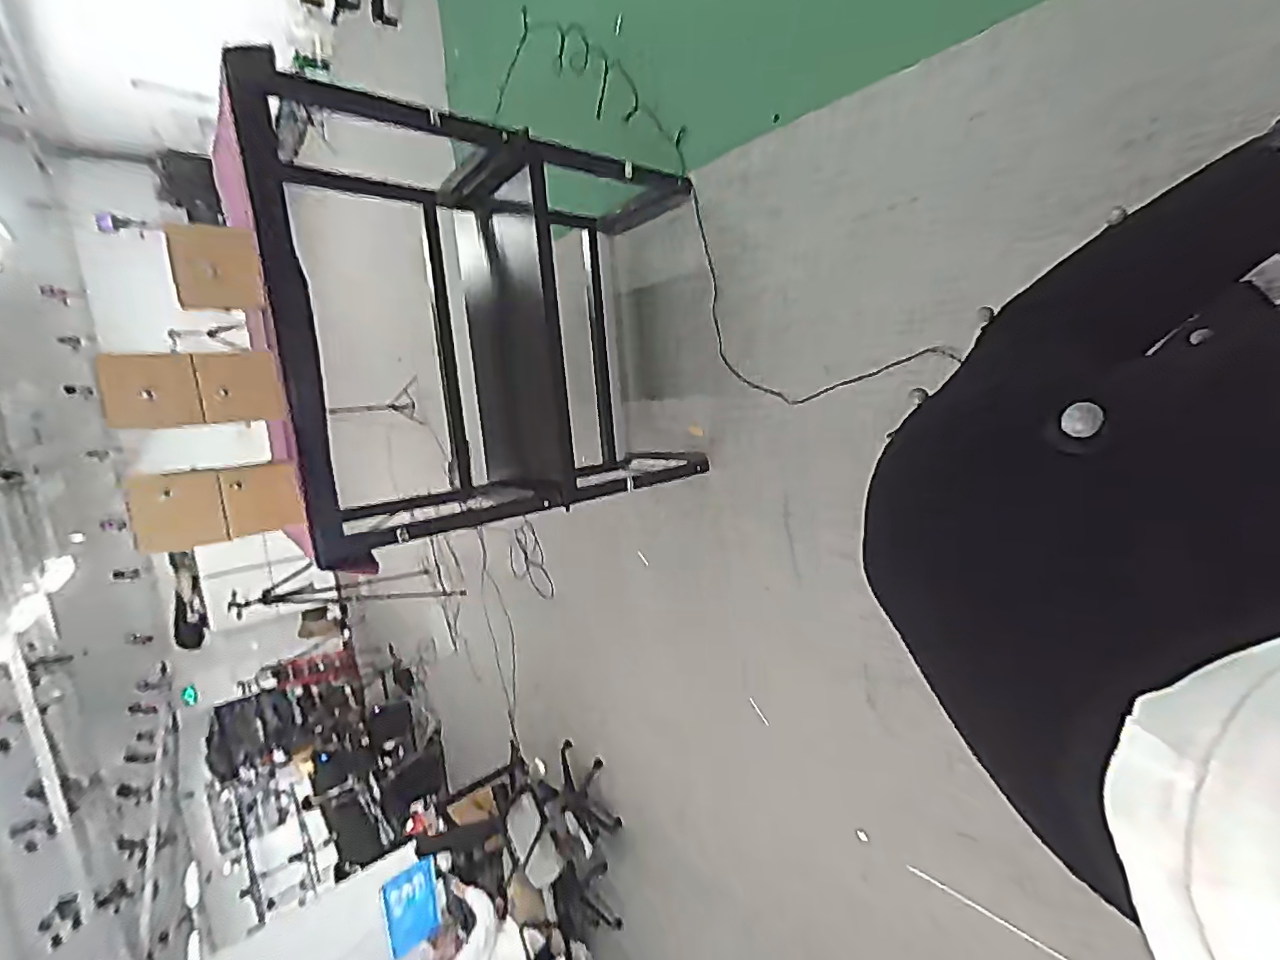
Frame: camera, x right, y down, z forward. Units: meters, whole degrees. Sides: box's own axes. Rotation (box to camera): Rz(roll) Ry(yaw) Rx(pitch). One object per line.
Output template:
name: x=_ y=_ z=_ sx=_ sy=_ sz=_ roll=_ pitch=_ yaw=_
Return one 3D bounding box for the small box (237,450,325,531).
small box: x=-0.953 y=0.021 z=1.439 sx=0.168 sy=0.176 sz=0.179 roll=9 pitch=106 yaw=51

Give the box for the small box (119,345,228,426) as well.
small box: x=-1.109 y=-0.229 z=1.298 sx=0.168 sy=0.176 sz=0.179 roll=10 pitch=109 yaw=51

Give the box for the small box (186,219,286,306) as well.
small box: x=-1.004 y=-0.535 z=1.350 sx=0.168 sy=0.176 sz=0.179 roll=11 pitch=109 yaw=50

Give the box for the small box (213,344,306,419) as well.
small box: x=-0.981 y=-0.256 z=1.398 sx=0.168 sy=0.176 sz=0.179 roll=10 pitch=108 yaw=51
